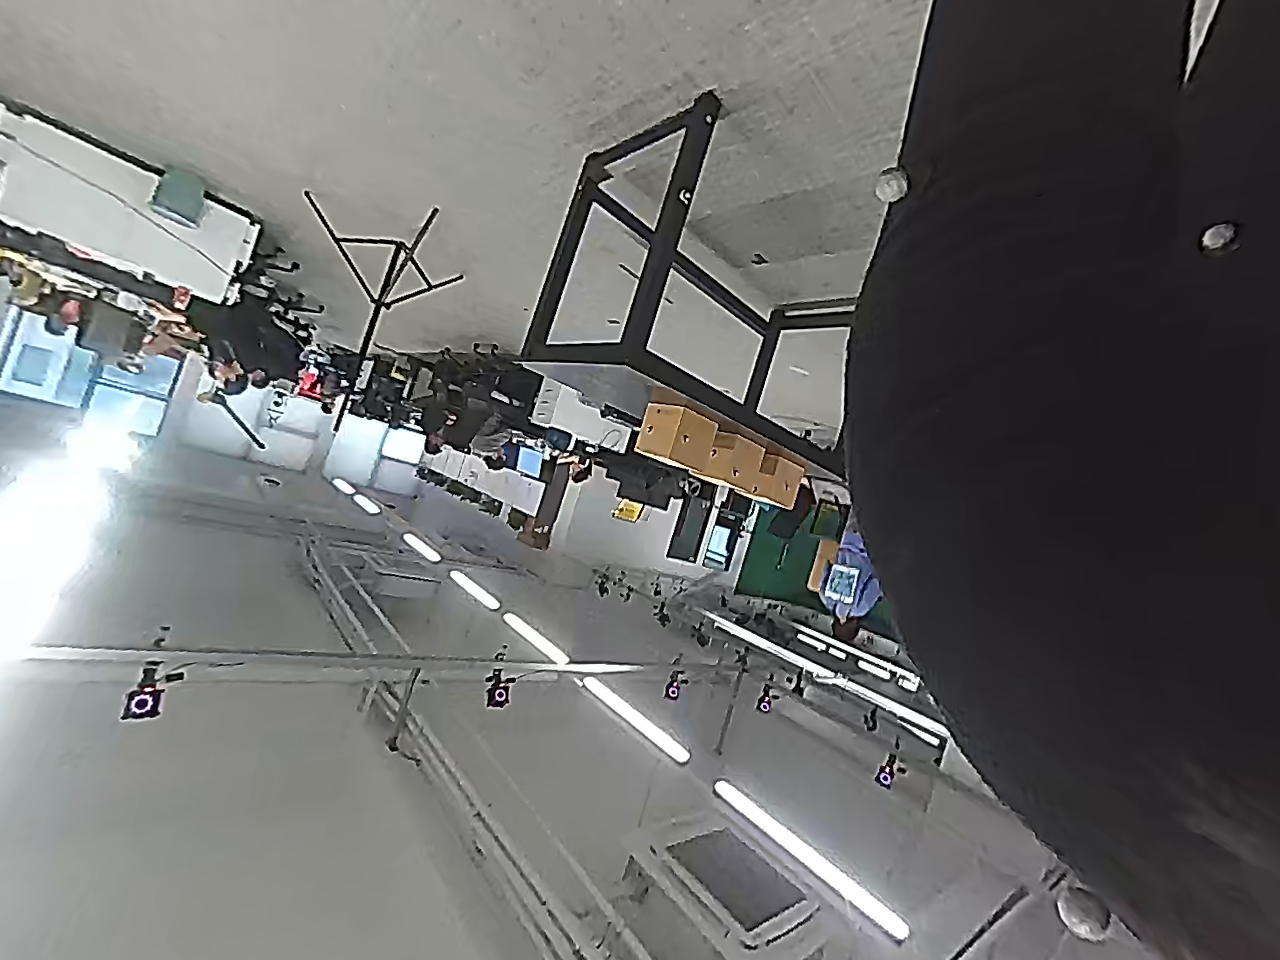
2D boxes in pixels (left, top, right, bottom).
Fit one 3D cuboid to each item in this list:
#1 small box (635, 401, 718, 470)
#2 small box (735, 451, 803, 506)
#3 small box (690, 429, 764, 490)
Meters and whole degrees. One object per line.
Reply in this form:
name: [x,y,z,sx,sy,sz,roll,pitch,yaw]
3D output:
small box: [0.119,-0.144,1.728,0.179,0.176,0.168,18,180,-41]
small box: [0.504,-0.013,2.094,0.179,0.176,0.168,18,178,-39]
small box: [0.310,-0.078,1.914,0.179,0.176,0.168,19,179,-43]
